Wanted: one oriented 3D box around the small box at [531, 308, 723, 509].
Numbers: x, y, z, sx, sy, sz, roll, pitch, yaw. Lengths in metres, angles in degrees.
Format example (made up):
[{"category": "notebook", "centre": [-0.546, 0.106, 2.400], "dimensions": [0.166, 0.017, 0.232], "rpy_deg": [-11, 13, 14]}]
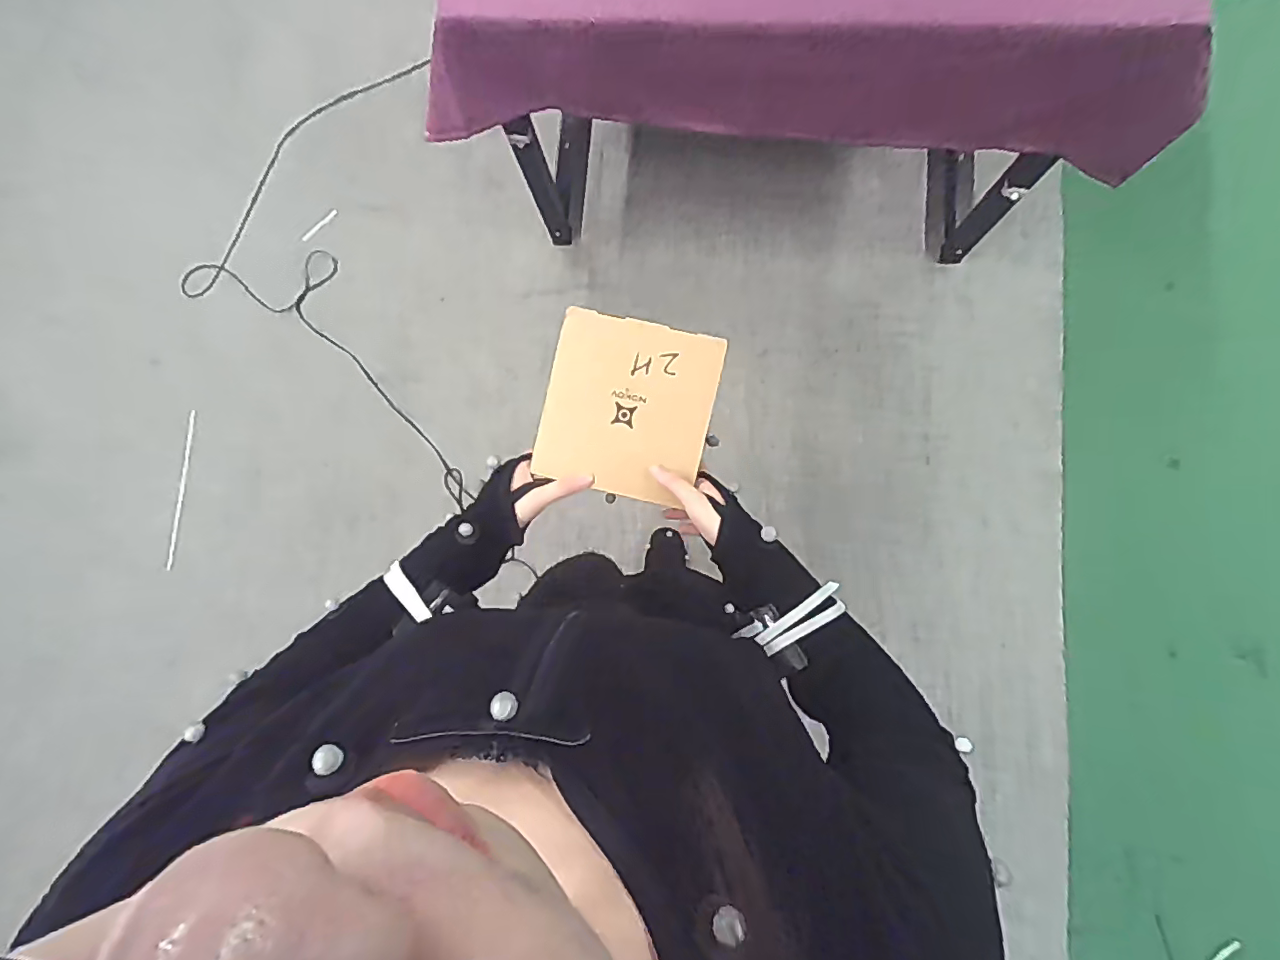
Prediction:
[{"category": "small box", "centre": [-0.008, -0.073, 0.629], "dimensions": [0.168, 0.176, 0.179], "rpy_deg": [14, 91, 4]}]
